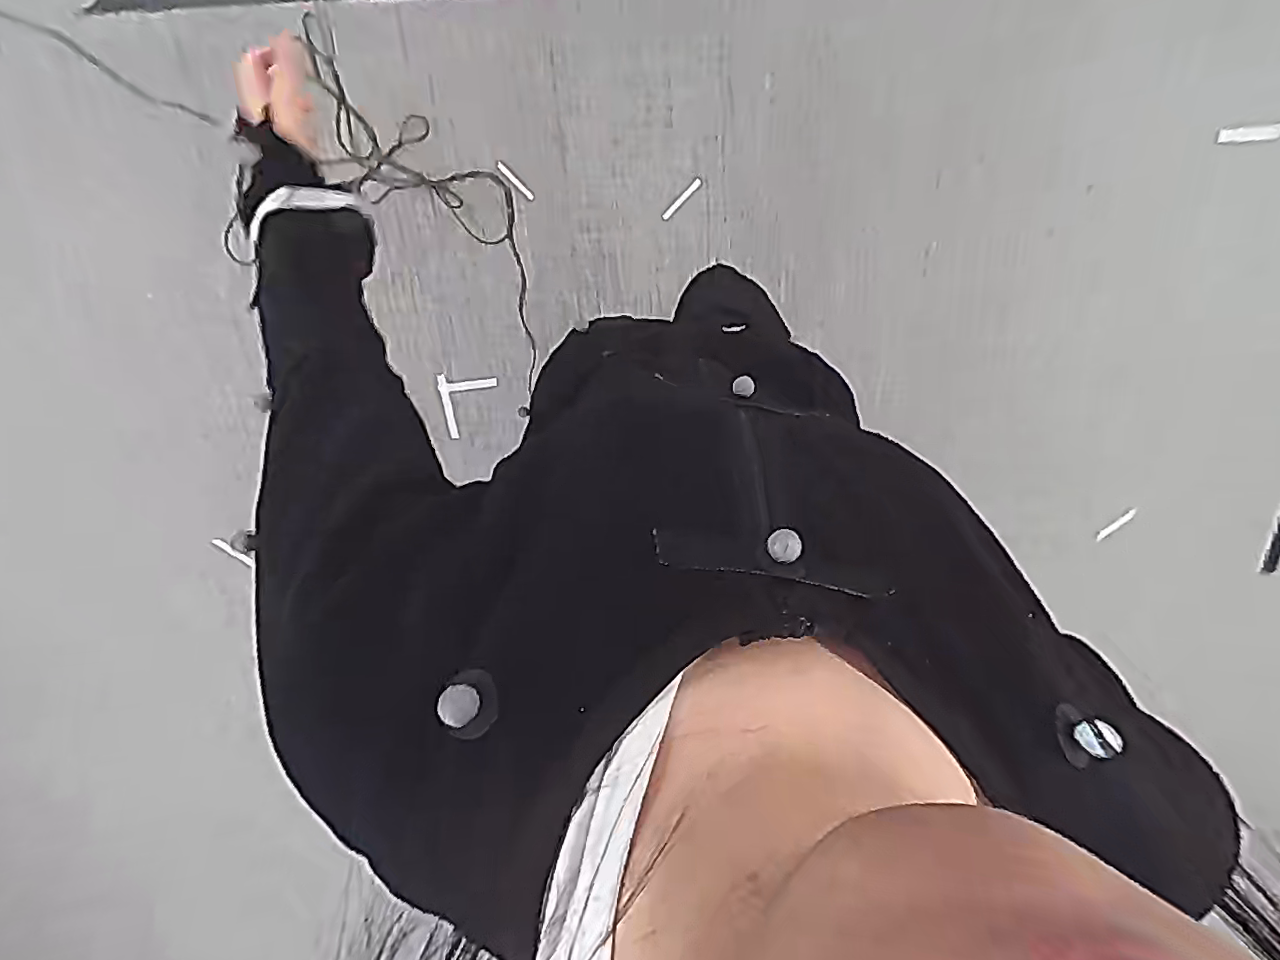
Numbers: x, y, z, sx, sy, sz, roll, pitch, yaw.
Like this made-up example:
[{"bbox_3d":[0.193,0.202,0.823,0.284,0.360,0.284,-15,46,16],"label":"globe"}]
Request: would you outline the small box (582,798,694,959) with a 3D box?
[{"bbox_3d":[-0.005,0.657,0.881,0.168,0.176,0.179,0,108,-2],"label":"small box"}]
